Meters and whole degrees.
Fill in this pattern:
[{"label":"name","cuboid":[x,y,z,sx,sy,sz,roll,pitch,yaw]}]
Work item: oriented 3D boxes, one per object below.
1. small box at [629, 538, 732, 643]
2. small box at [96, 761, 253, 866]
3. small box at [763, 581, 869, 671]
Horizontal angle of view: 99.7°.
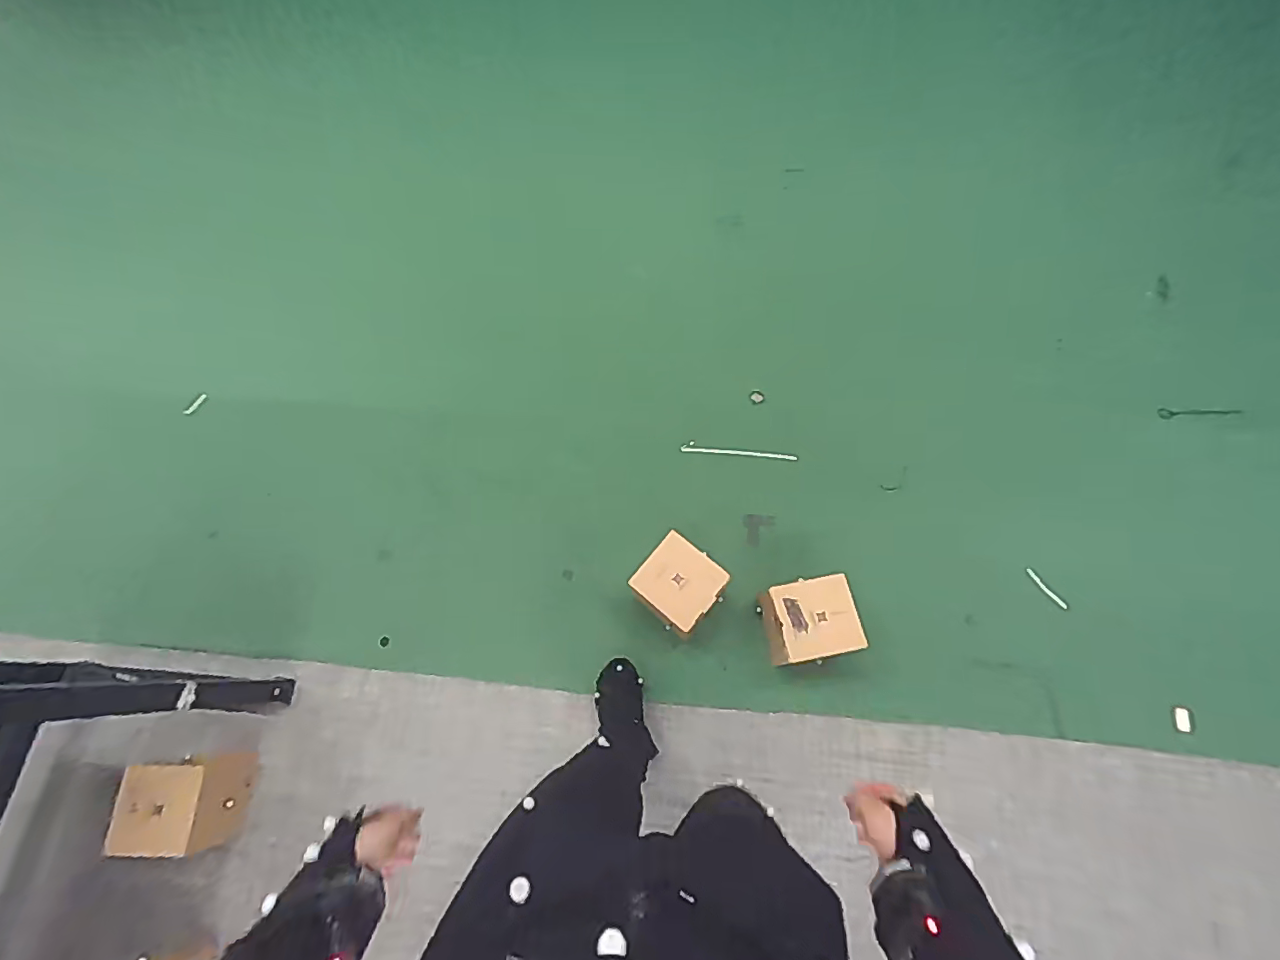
[{"label":"small box","cuboid":[0.094,0.269,1.285,0.179,0.176,0.168,37,75,15]},{"label":"small box","cuboid":[-0.991,0.713,1.171,0.179,0.176,0.168,0,69,2]},{"label":"small box","cuboid":[0.390,0.341,1.245,0.179,0.176,0.168,-11,70,-2]}]
